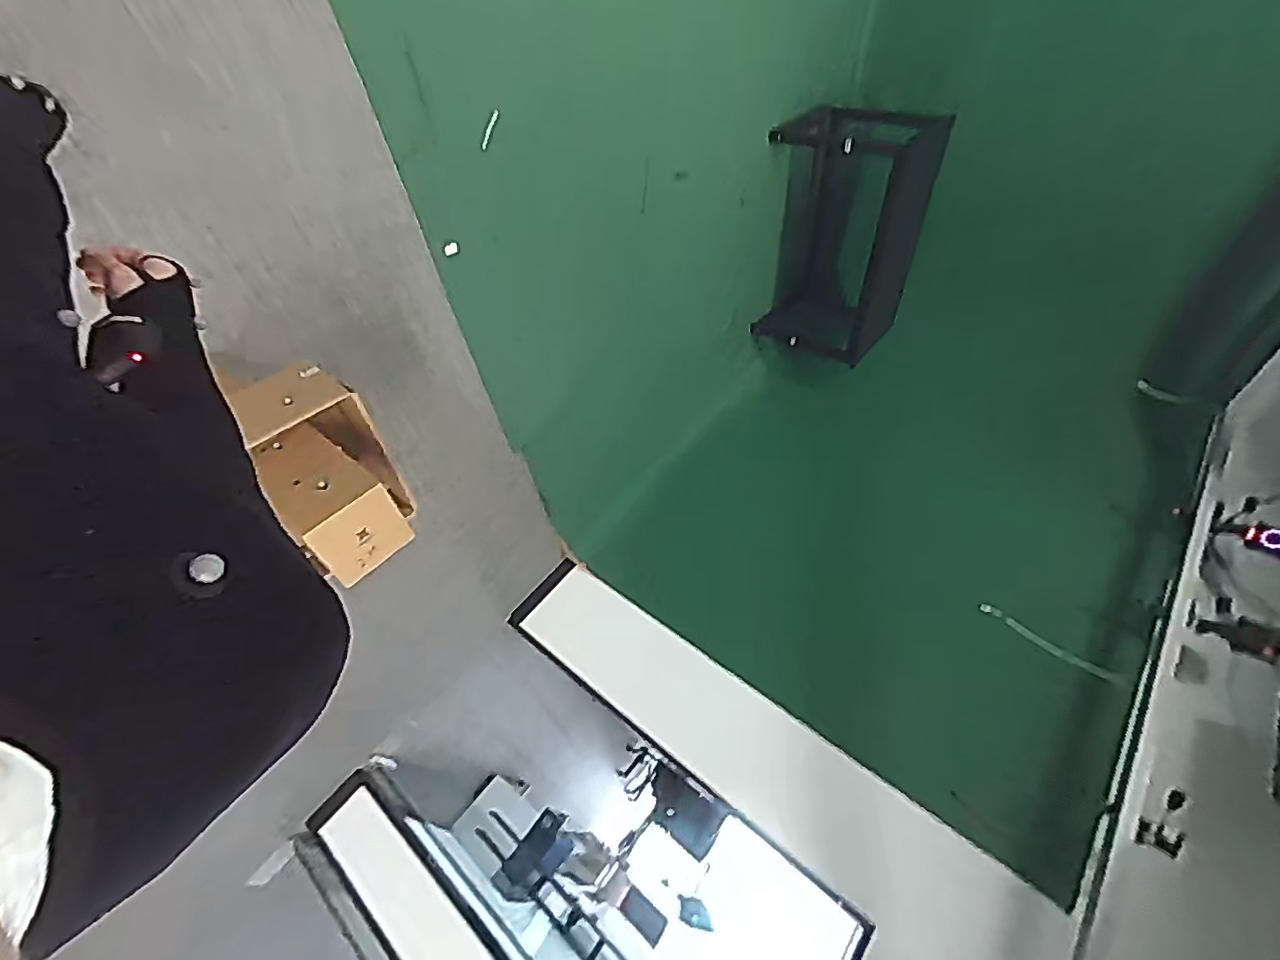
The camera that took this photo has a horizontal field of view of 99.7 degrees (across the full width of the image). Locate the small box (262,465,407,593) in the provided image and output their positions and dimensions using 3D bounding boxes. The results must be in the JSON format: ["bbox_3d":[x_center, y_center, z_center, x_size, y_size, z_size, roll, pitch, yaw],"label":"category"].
[{"bbox_3d":[-0.619,0.089,1.100,0.168,0.176,0.179,-42,145,-30],"label":"small box"}]
